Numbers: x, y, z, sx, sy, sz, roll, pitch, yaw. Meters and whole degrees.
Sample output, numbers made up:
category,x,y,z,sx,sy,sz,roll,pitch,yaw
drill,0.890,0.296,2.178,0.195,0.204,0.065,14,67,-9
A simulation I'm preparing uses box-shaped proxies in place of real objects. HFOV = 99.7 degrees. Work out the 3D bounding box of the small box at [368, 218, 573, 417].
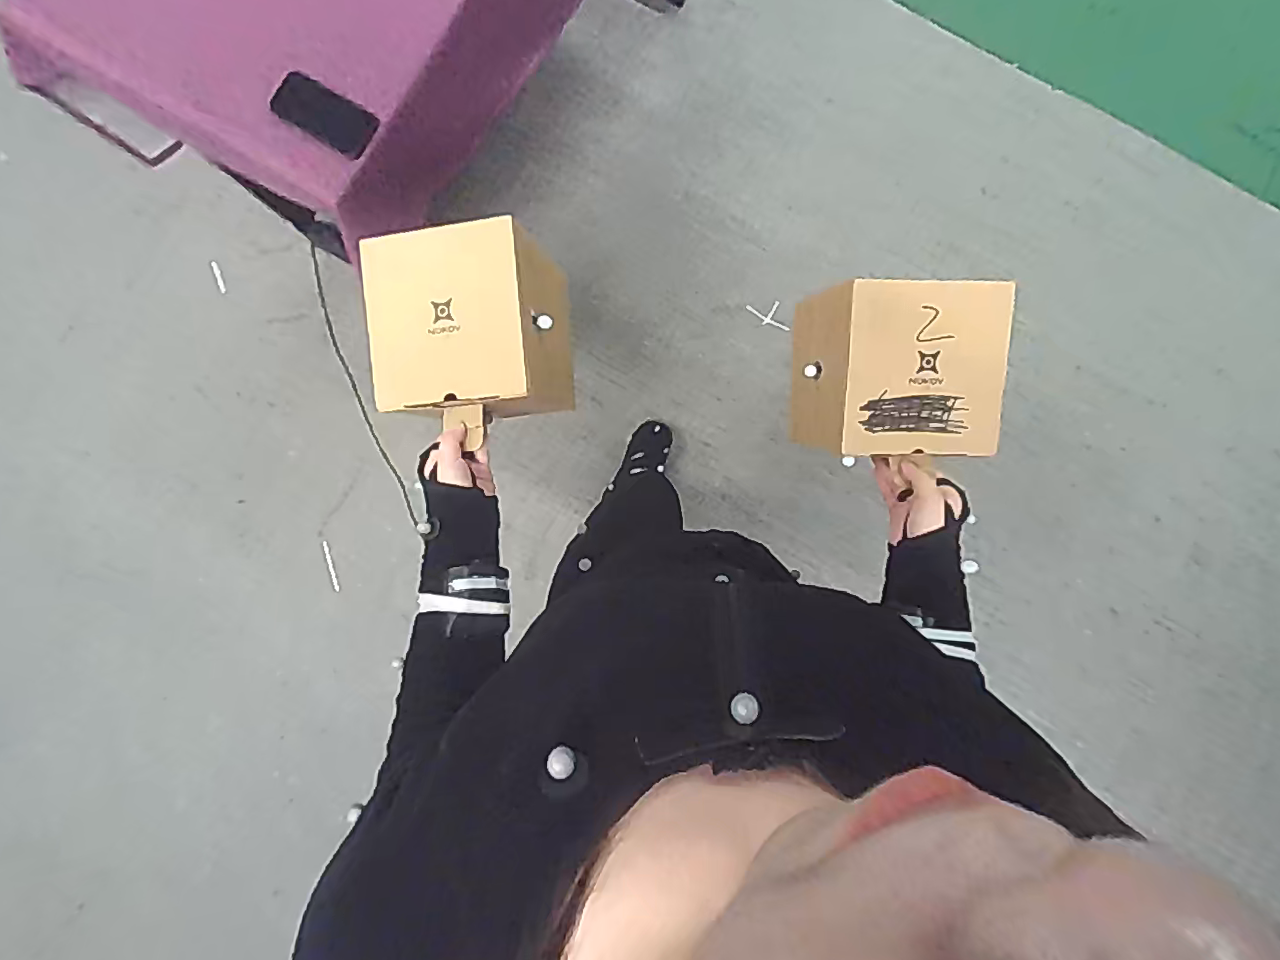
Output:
category,x,y,z,sx,sy,sz,roll,pitch,yaw
small box,-0.182,-0.171,0.623,0.168,0.176,0.179,-4,93,9
